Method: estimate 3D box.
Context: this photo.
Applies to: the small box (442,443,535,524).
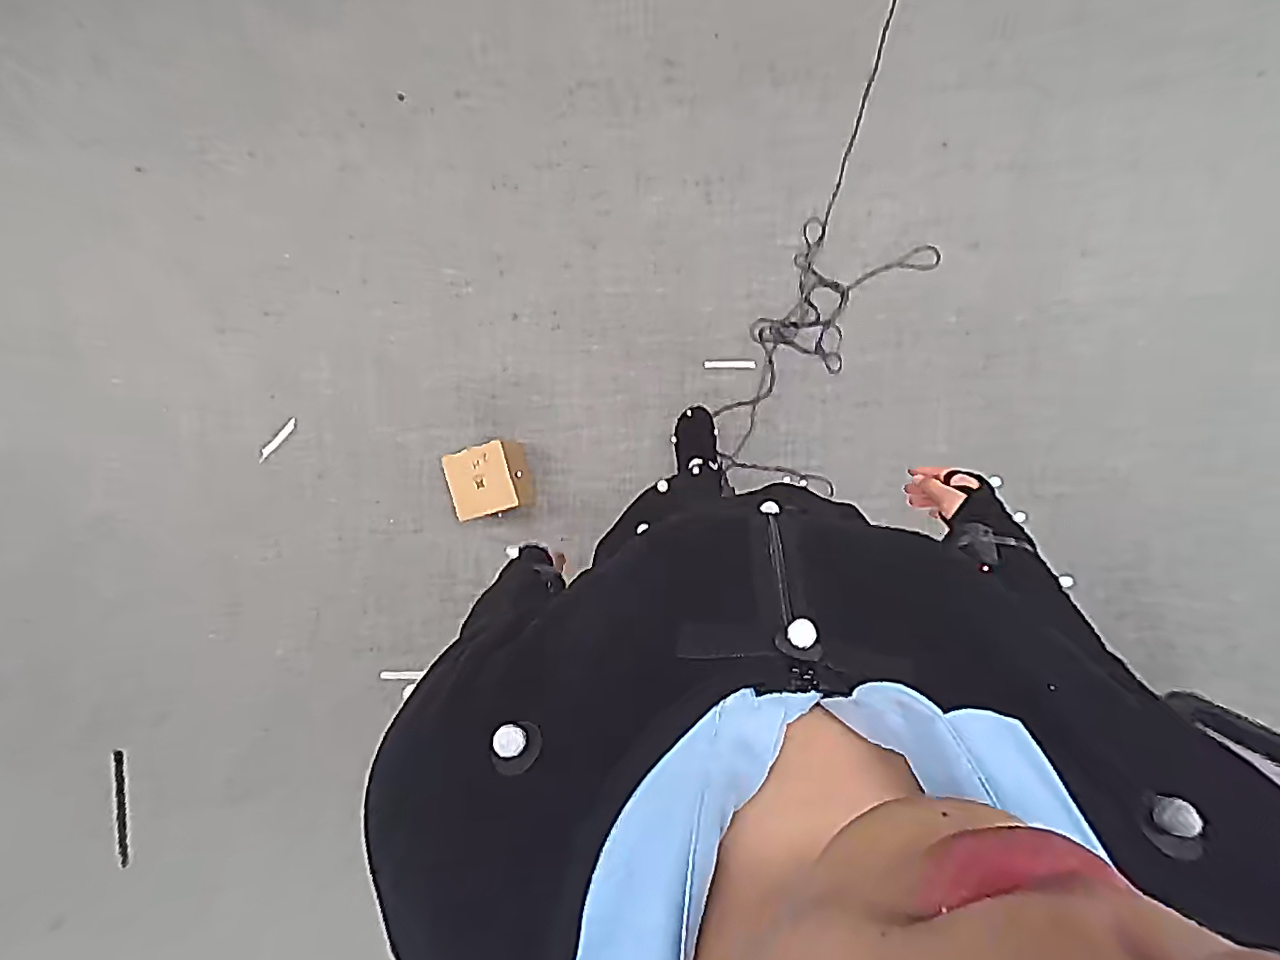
[{"bbox_3d":[-0.397,0.006,1.448,0.168,0.176,0.179,-16,90,5],"label":"small box"}]
